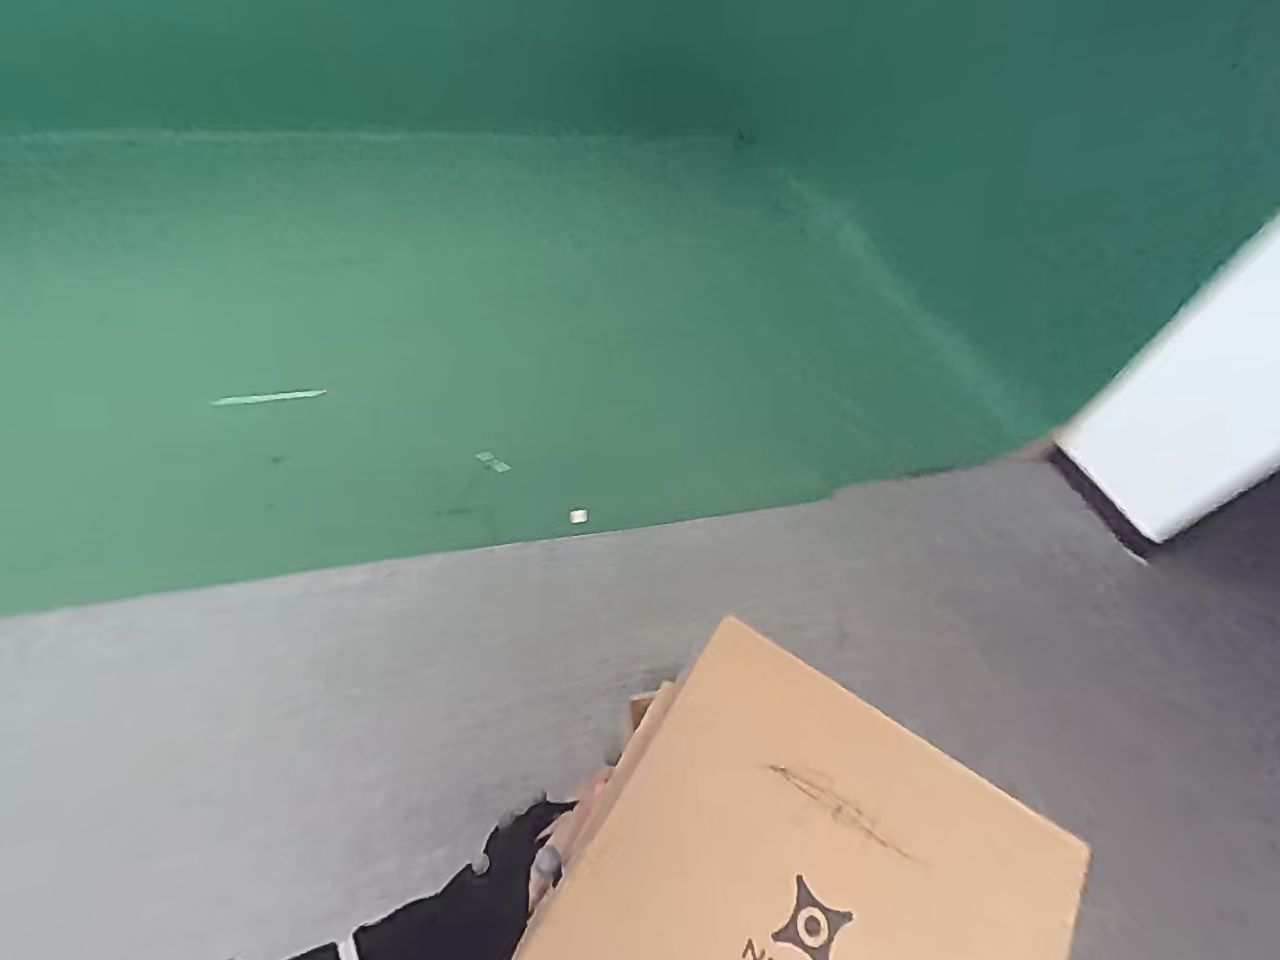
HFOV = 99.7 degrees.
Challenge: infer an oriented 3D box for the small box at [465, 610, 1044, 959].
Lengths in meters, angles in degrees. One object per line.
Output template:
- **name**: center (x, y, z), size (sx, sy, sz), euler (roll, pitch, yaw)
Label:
- **small box**: center (0.040, 0.200, 0.264), size (0.168, 0.176, 0.179), euler (32, 64, 13)
